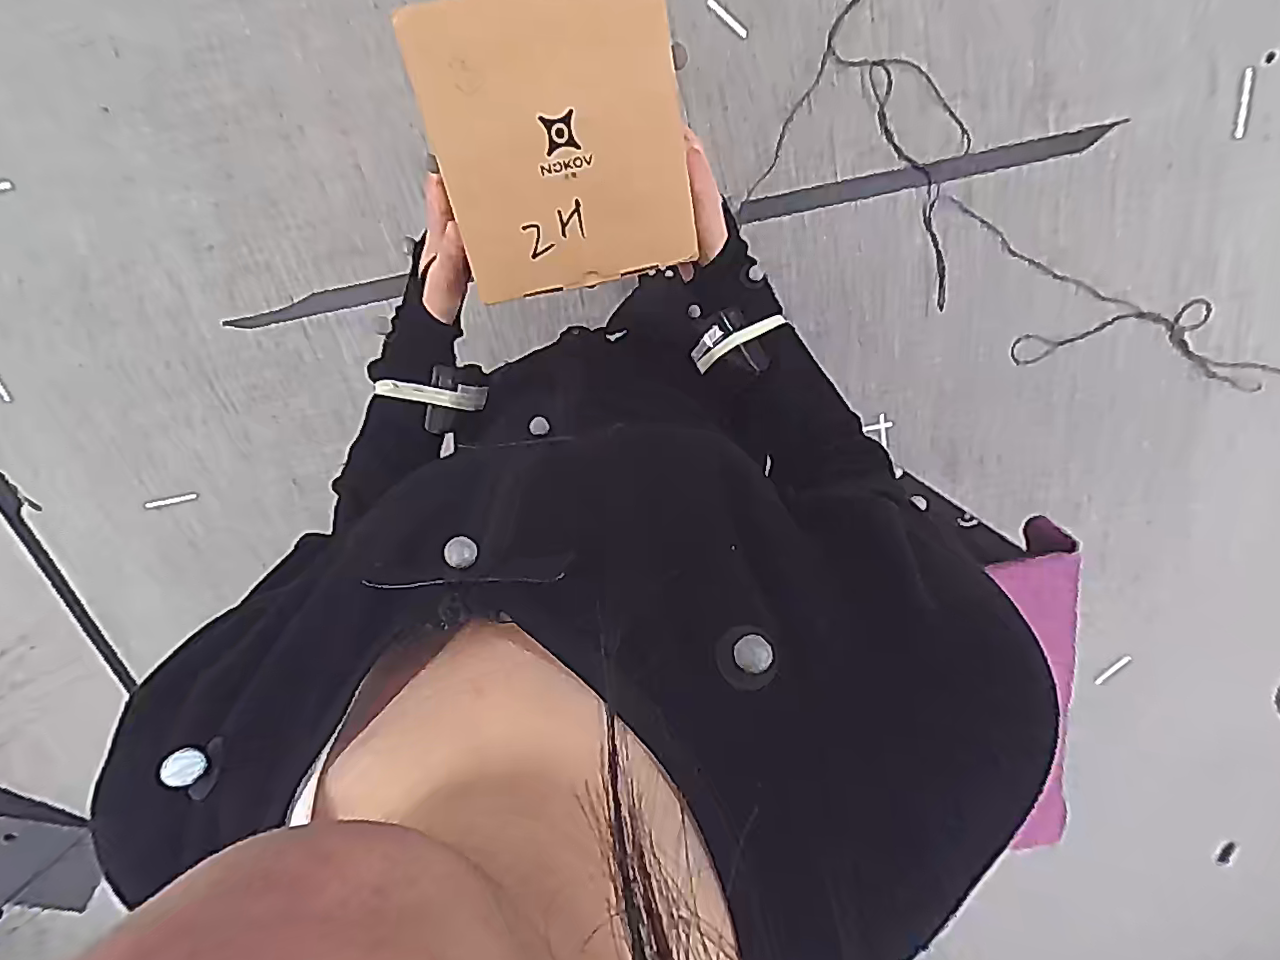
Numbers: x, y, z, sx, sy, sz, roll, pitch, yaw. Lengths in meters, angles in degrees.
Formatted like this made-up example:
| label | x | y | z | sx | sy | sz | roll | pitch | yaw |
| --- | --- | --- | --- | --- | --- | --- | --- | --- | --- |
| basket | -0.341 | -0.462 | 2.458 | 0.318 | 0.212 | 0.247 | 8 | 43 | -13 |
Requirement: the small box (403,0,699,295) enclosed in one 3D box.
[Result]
| label | x | y | z | sx | sy | sz | roll | pitch | yaw |
| --- | --- | --- | --- | --- | --- | --- | --- | --- | --- |
| small box | -0.060 | -0.261 | 0.433 | 0.168 | 0.176 | 0.179 | -13 | 116 | -1 |
